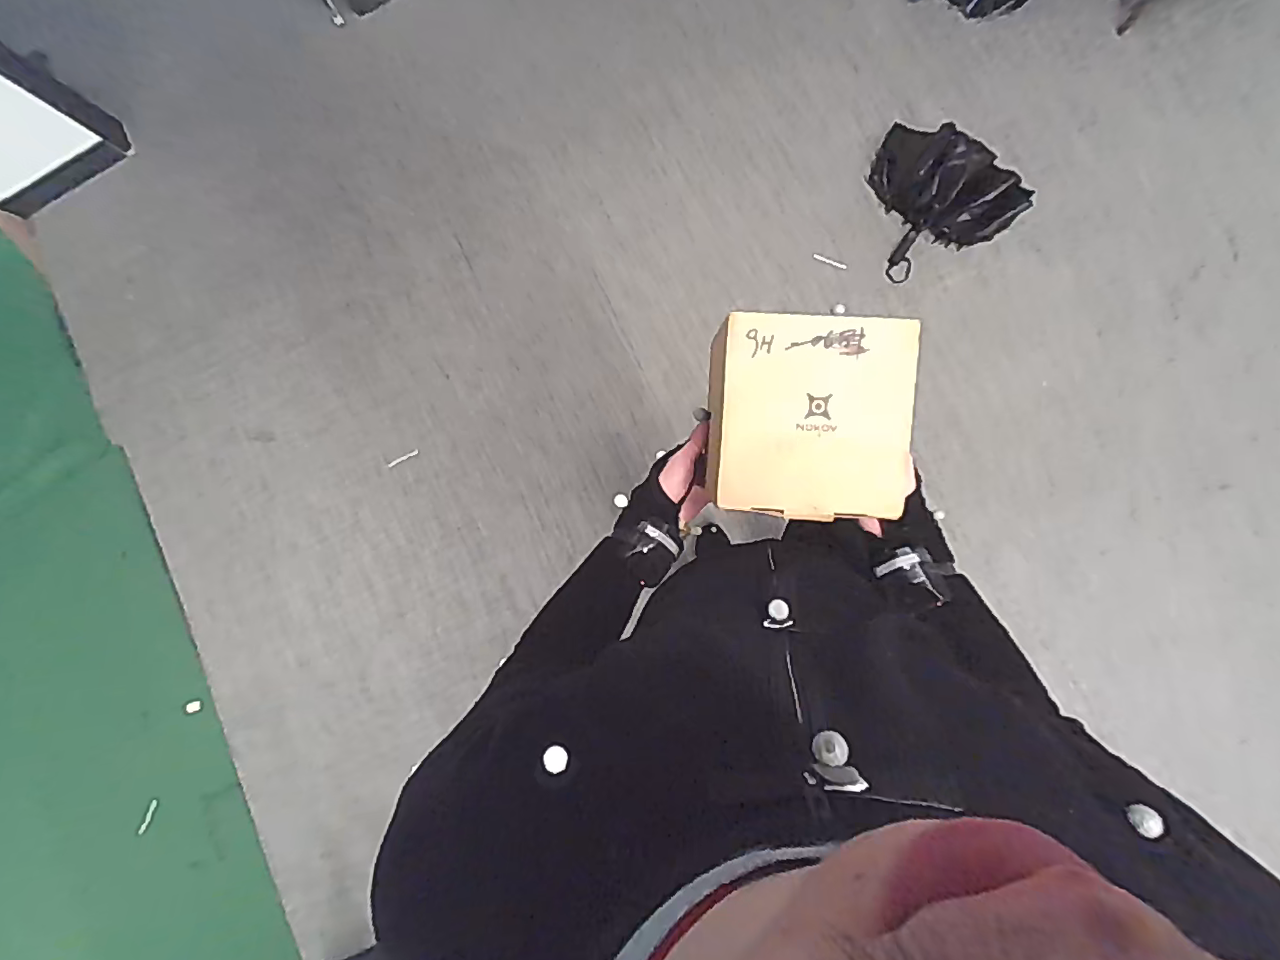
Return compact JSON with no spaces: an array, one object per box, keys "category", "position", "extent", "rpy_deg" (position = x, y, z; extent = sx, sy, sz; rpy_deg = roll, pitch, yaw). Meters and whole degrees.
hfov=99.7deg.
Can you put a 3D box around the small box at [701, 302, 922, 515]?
[{"category":"small box","position":[0.153,-0.069,0.544],"extent":[0.168,0.176,0.179],"rpy_deg":[3,96,1]}]
